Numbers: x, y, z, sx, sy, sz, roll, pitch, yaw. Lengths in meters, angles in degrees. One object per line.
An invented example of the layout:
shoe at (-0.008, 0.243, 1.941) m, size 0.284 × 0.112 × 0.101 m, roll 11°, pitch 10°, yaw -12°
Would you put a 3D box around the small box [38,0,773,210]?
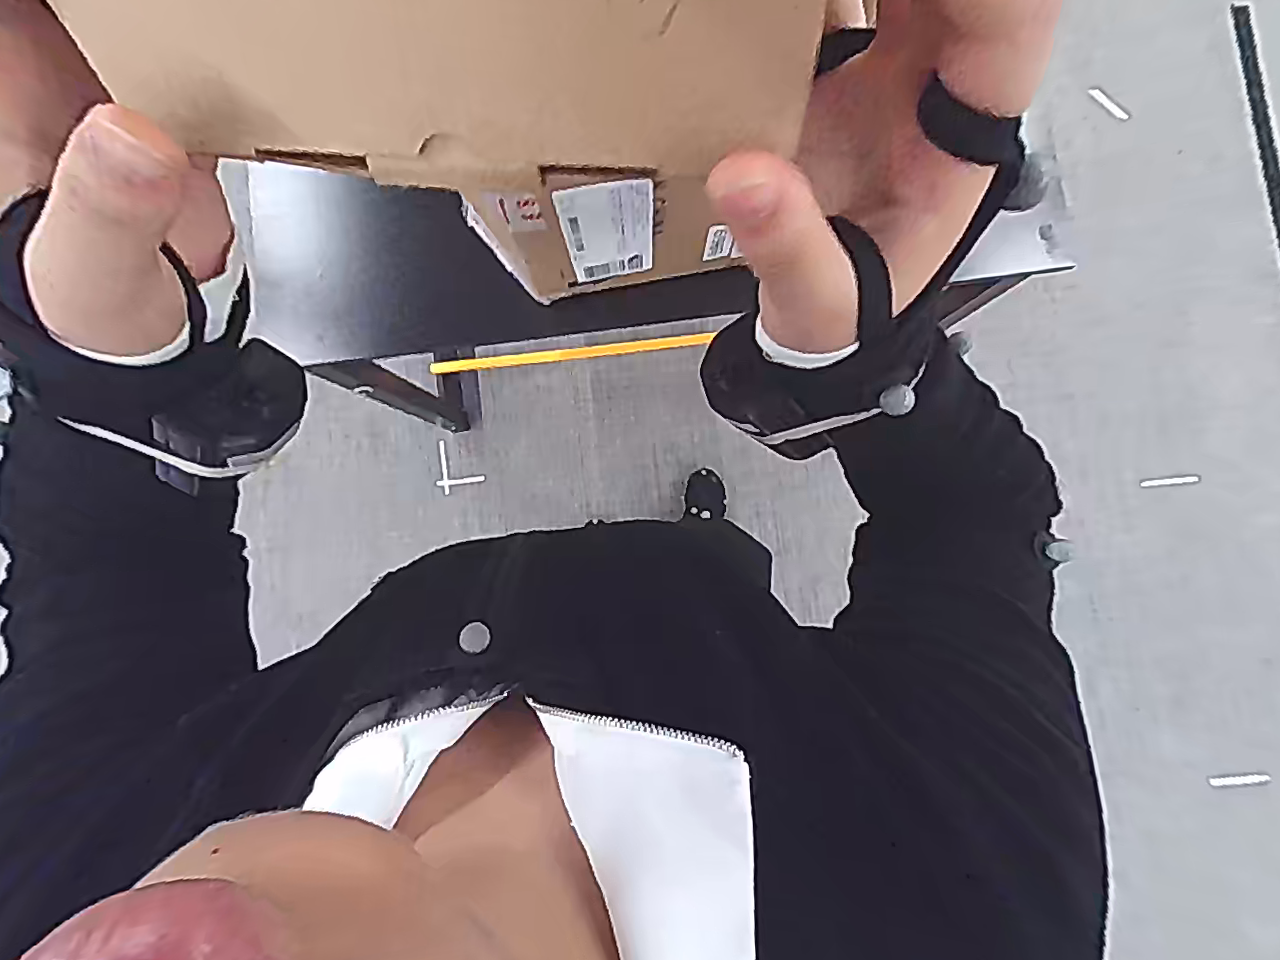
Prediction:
small box at (-0.040, -0.192, 0.126) m, size 0.168 × 0.179 × 0.176 m, roll 7°, pitch 48°, yaw 5°
